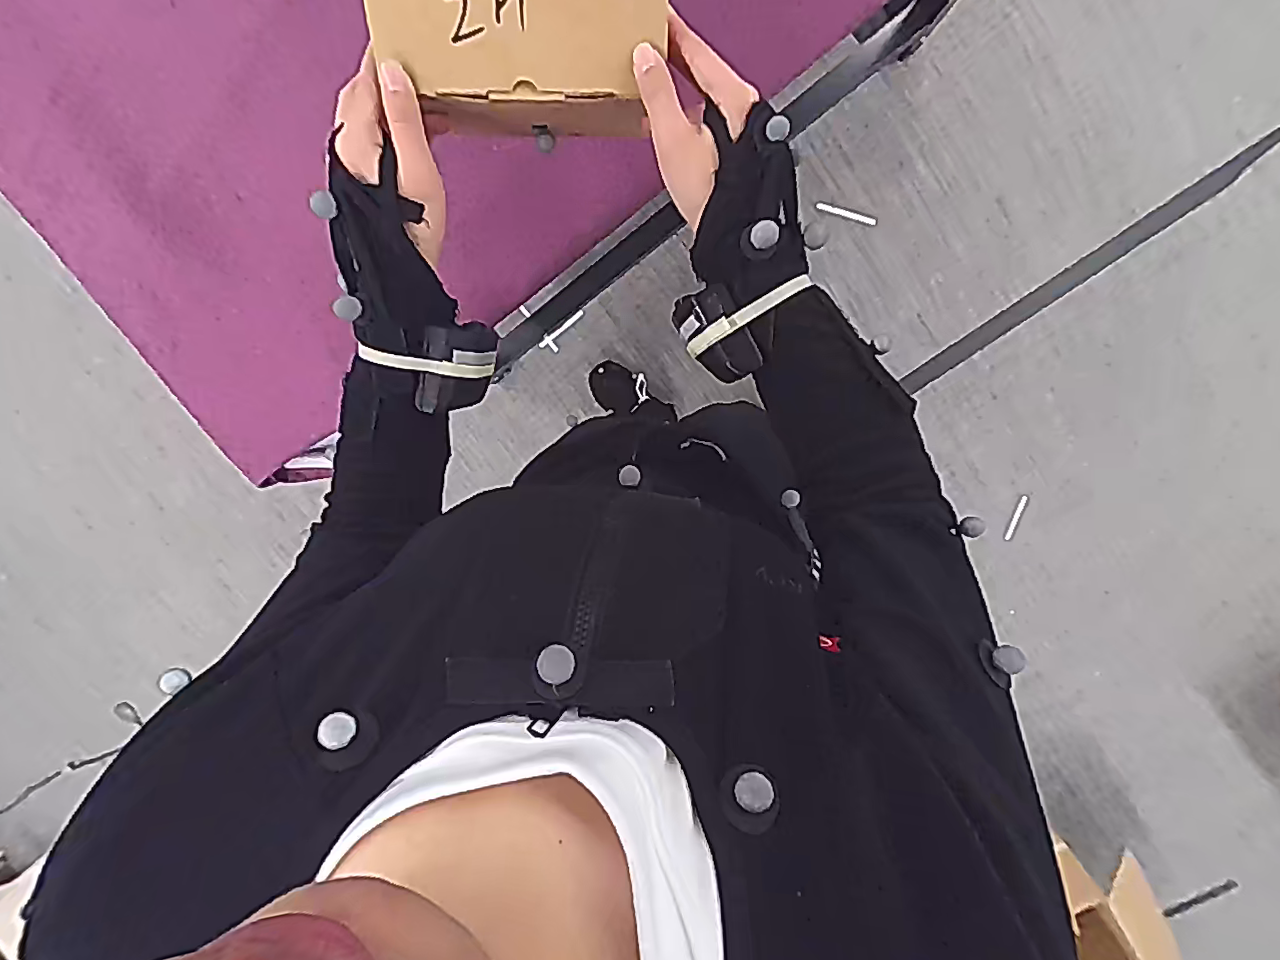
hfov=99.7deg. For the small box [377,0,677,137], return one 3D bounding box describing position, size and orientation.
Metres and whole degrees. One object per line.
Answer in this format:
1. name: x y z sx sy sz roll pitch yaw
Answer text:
1. small box: -0.066 -0.339 0.350 0.168 0.176 0.179 -1 115 -2
